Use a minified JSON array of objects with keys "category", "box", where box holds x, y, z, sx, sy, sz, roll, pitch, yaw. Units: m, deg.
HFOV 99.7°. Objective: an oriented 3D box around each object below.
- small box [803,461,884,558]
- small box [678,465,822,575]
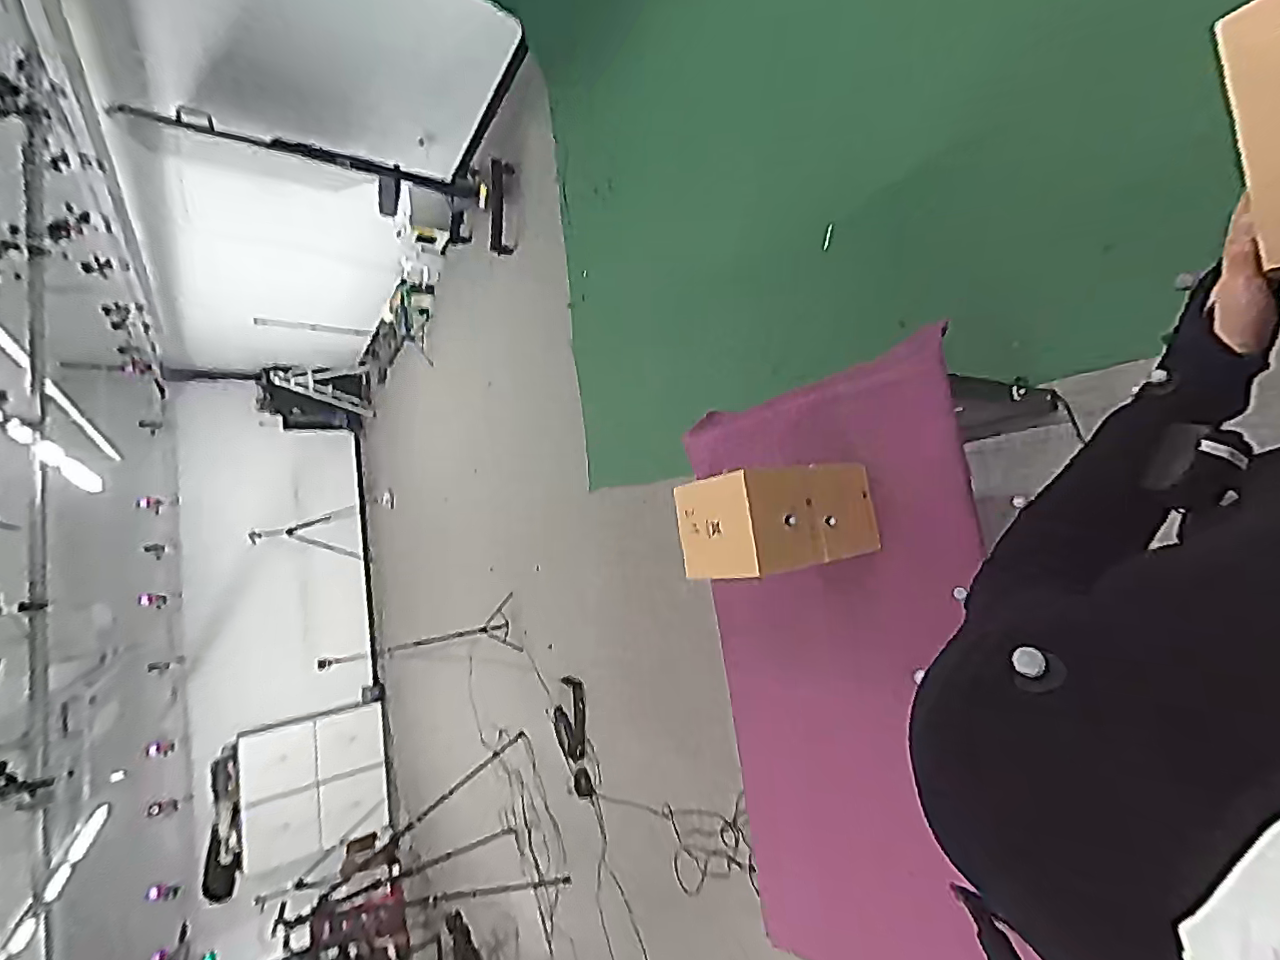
[{"category":"small box","box":[0.329,0.061,1.032,0.179,0.176,0.168,-19,78,54]},{"category":"small box","box":[0.194,0.070,0.937,0.179,0.176,0.168,-16,79,54]}]
